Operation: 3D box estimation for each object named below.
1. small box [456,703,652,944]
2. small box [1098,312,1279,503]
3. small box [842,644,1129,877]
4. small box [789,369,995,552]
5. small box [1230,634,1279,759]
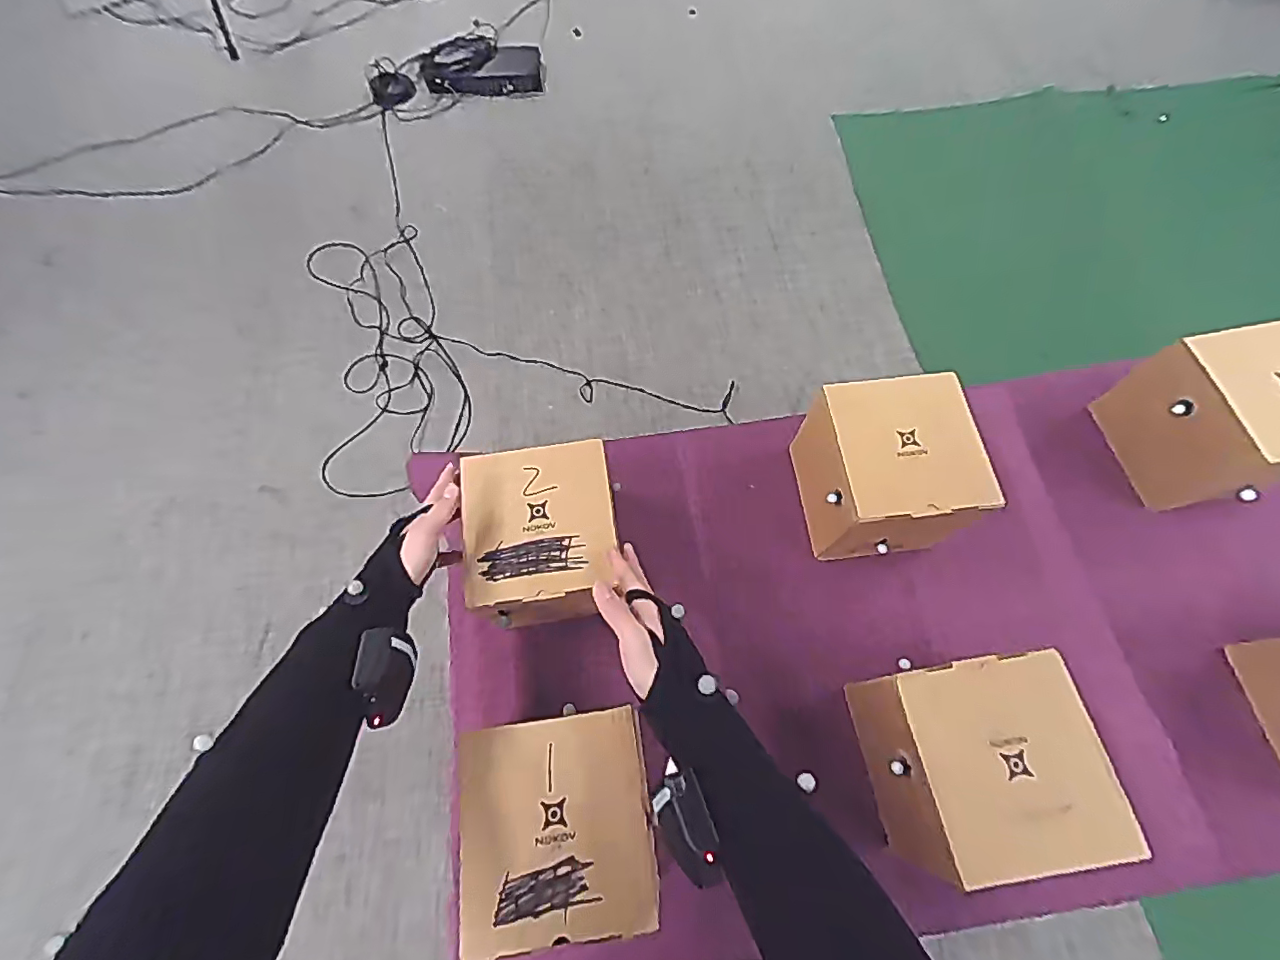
[{"bbox_3d":[-0.081,0.336,0.564,0.168,0.176,0.179,-8,66,-1],"label":"small box"},{"bbox_3d":[0.753,-0.088,0.693,0.168,0.176,0.179,-11,68,2],"label":"small box"},{"bbox_3d":[0.332,0.282,0.568,0.168,0.176,0.179,-9,67,0],"label":"small box"},{"bbox_3d":[0.302,-0.017,0.694,0.168,0.176,0.179,-6,69,0],"label":"small box"},{"bbox_3d":[0.798,0.238,0.558,0.168,0.176,0.179,-8,68,1],"label":"small box"}]
